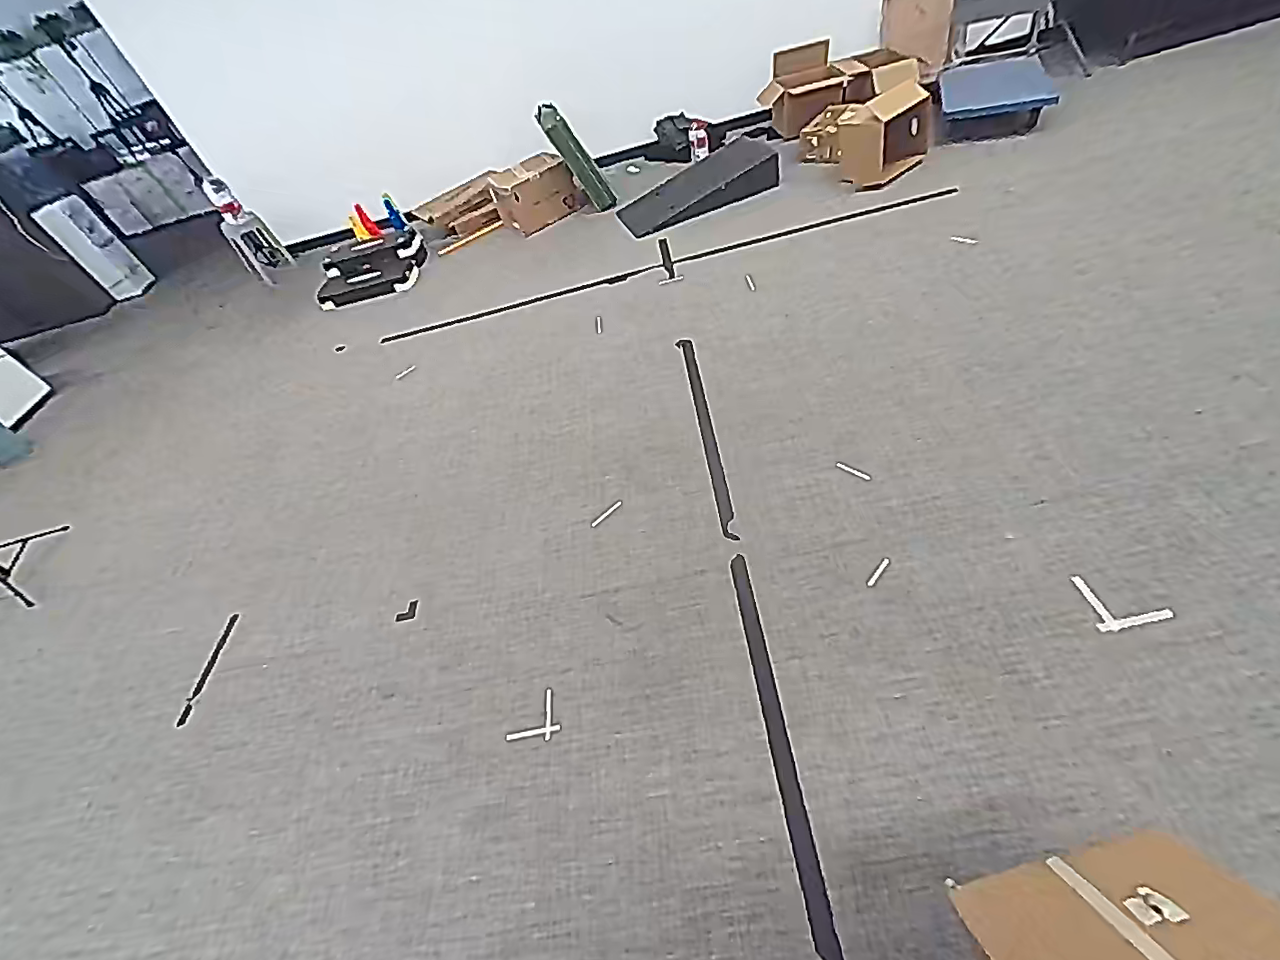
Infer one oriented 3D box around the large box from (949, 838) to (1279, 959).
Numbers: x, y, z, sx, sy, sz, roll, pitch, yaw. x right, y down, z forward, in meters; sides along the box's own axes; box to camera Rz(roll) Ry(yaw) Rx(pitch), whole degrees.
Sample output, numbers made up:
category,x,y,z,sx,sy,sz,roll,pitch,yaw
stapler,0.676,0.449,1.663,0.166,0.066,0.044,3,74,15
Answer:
category,x,y,z,sx,sy,sz,roll,pitch,yaw
large box,0.624,0.677,0.567,0.320,0.408,0.320,-20,80,4
